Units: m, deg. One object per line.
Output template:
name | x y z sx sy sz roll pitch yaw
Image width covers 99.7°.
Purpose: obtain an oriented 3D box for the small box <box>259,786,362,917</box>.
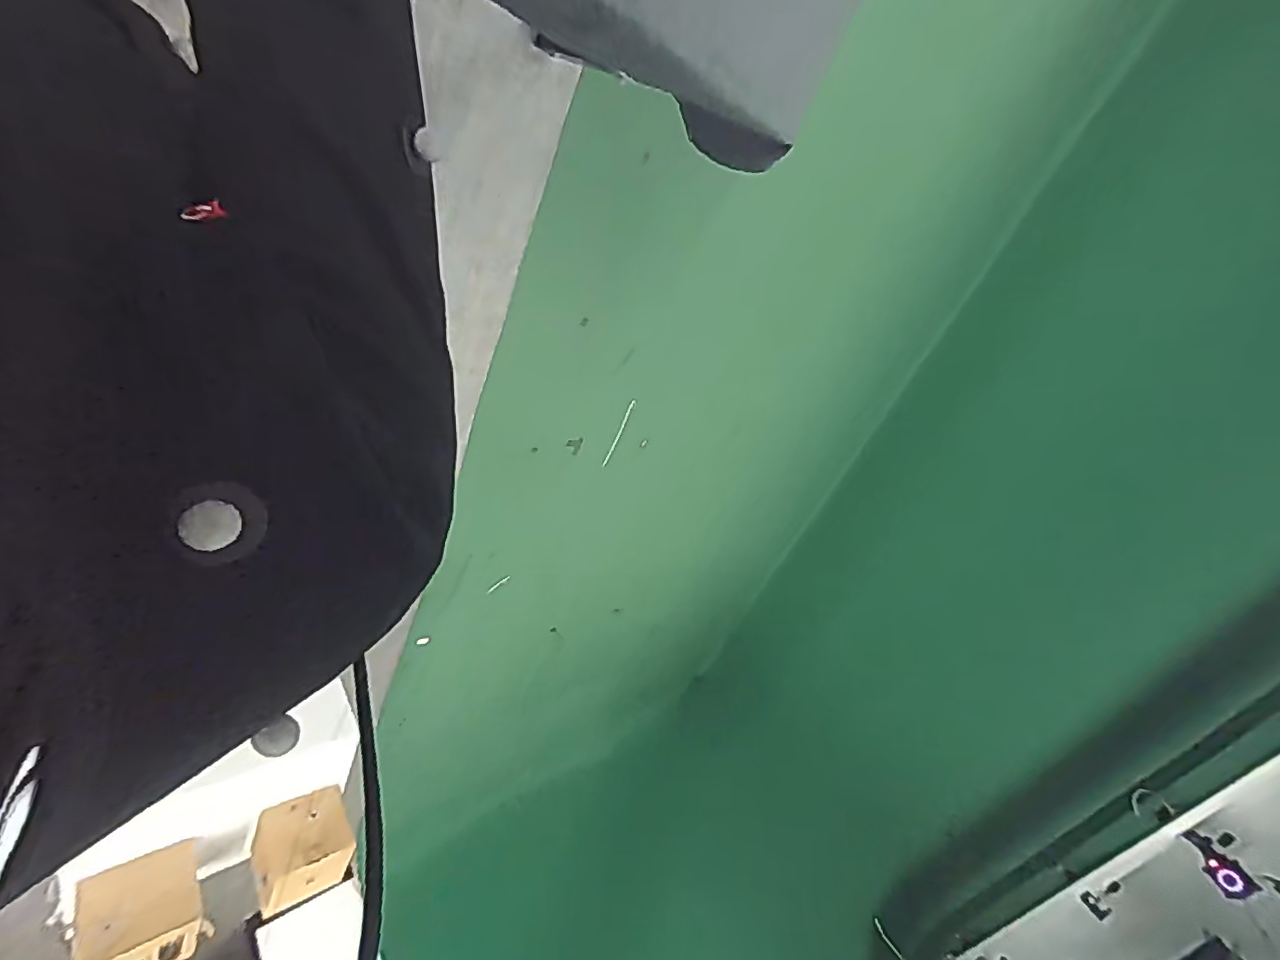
small box | -0.802 0.889 1.308 0.168 0.176 0.179 1 124 -47
